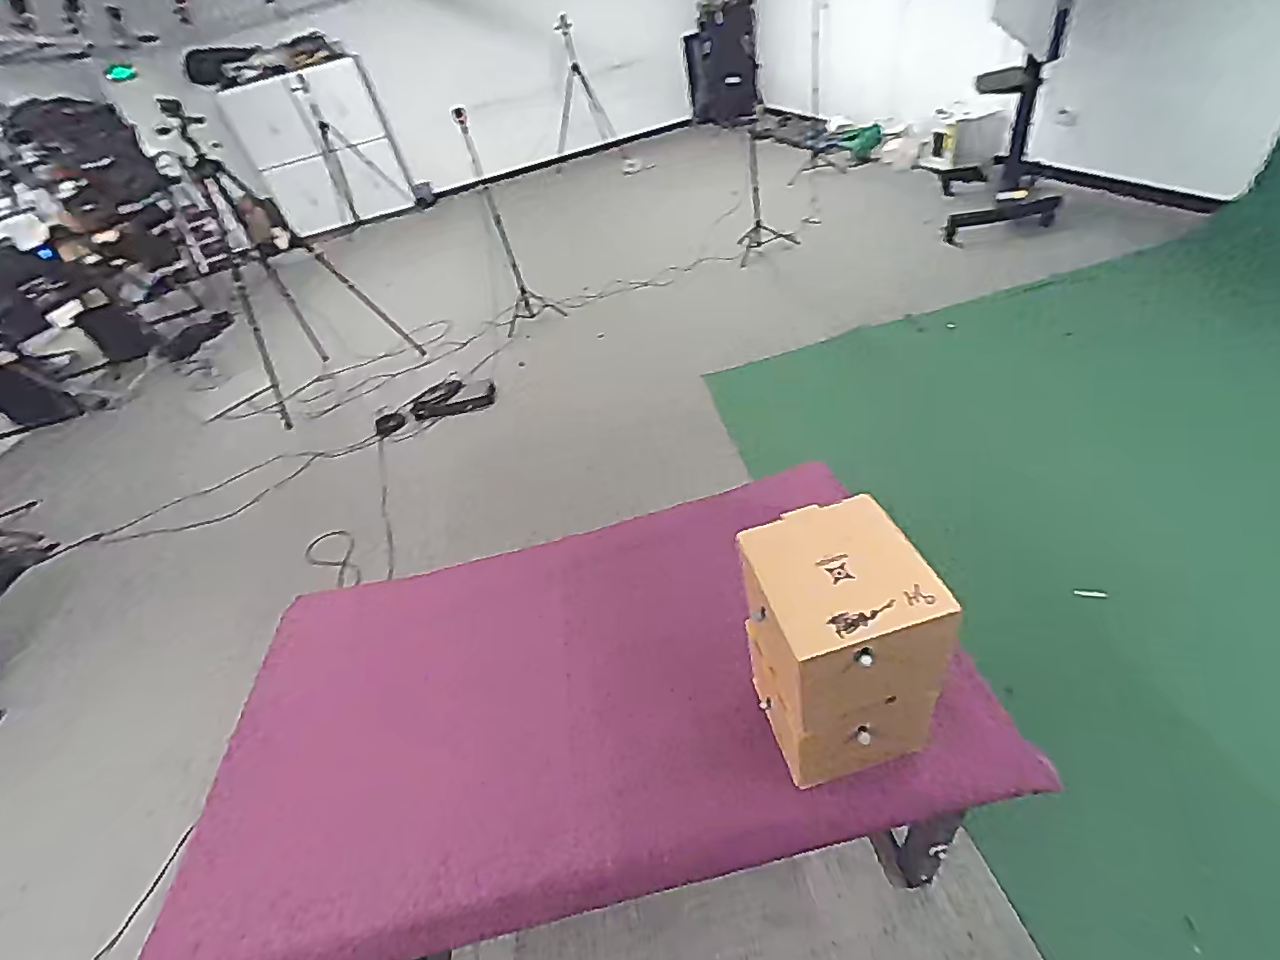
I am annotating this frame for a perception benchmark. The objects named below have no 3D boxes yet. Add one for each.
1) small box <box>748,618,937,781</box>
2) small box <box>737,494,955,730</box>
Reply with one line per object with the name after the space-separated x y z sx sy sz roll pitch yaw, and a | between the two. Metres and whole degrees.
0.262 0.273 0.730 0.179 0.176 0.168 -19 41 0 | small box
0.225 0.152 0.626 0.168 0.176 0.179 -19 40 1 | small box
